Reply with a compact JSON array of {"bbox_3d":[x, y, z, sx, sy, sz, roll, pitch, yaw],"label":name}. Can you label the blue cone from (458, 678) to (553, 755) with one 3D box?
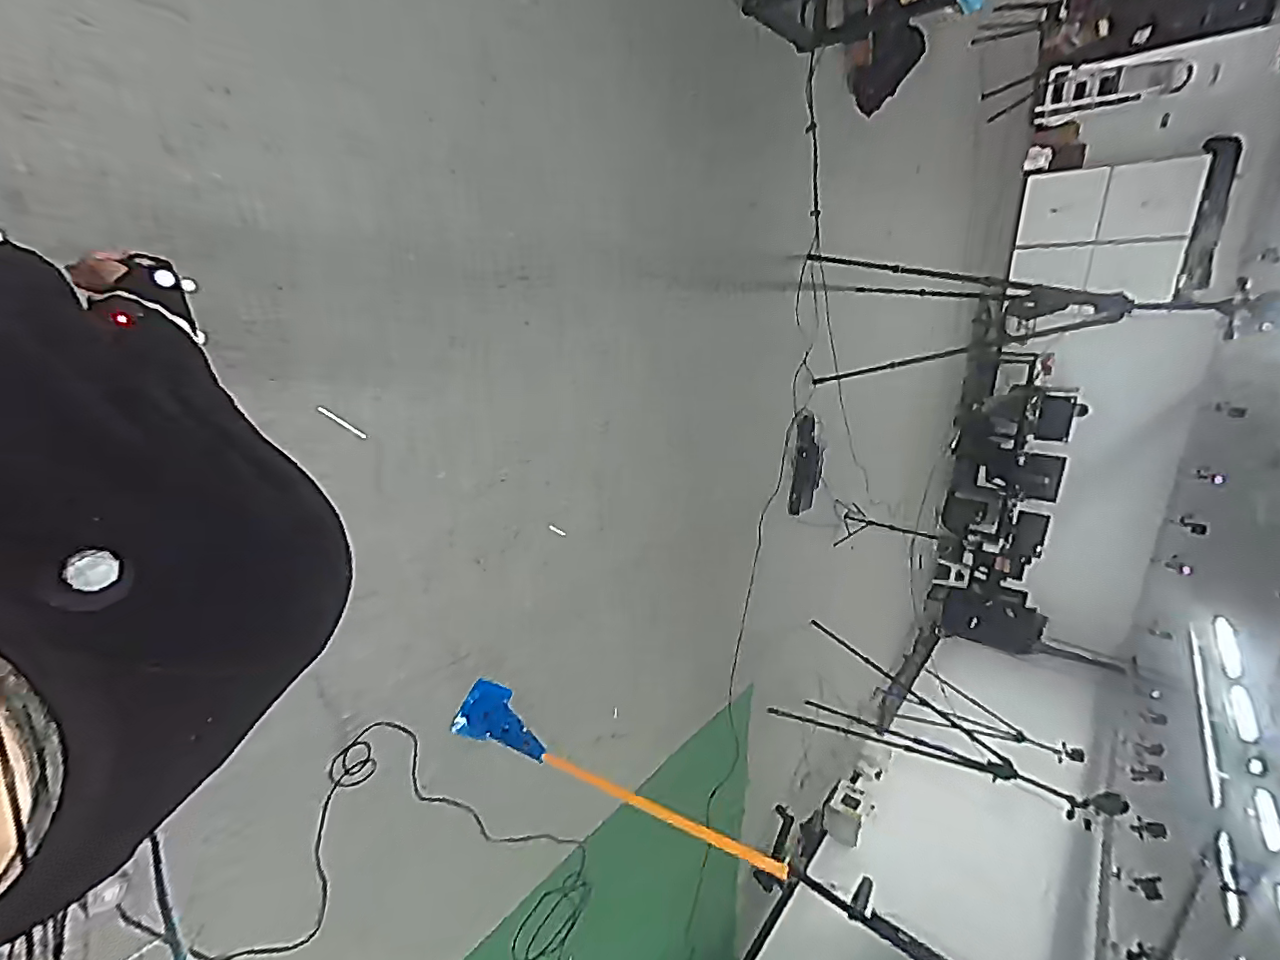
[{"bbox_3d":[-0.446,0.856,1.887,0.192,0.380,0.193,46,64,-46],"label":"blue cone"}]
